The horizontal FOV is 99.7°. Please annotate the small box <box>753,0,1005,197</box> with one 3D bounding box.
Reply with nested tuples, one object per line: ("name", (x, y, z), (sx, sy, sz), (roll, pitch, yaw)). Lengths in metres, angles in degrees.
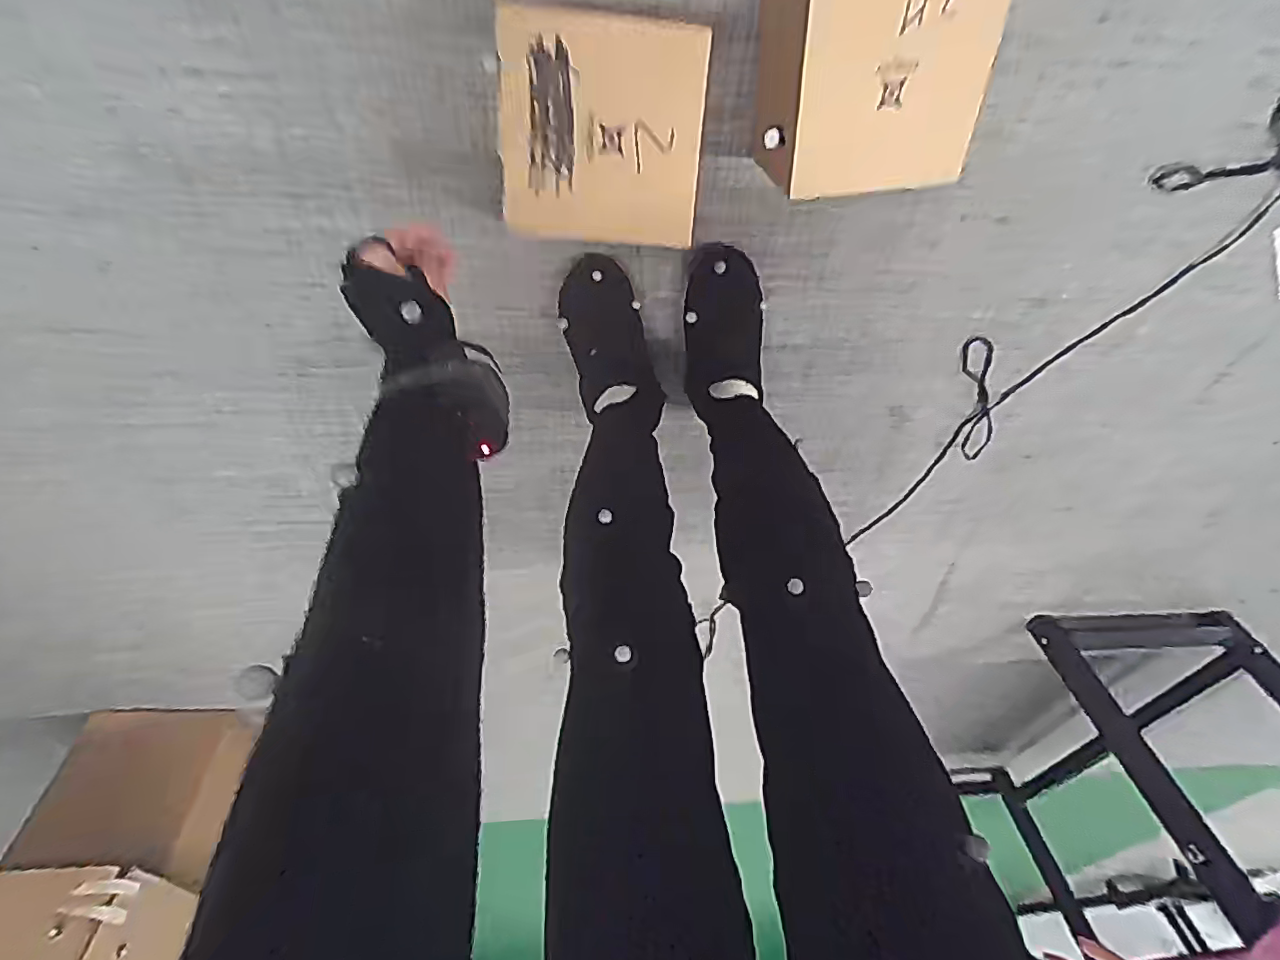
("small box", (0.211, -0.400, 0.527), (0.168, 0.176, 0.179), (-6, 132, 0))
